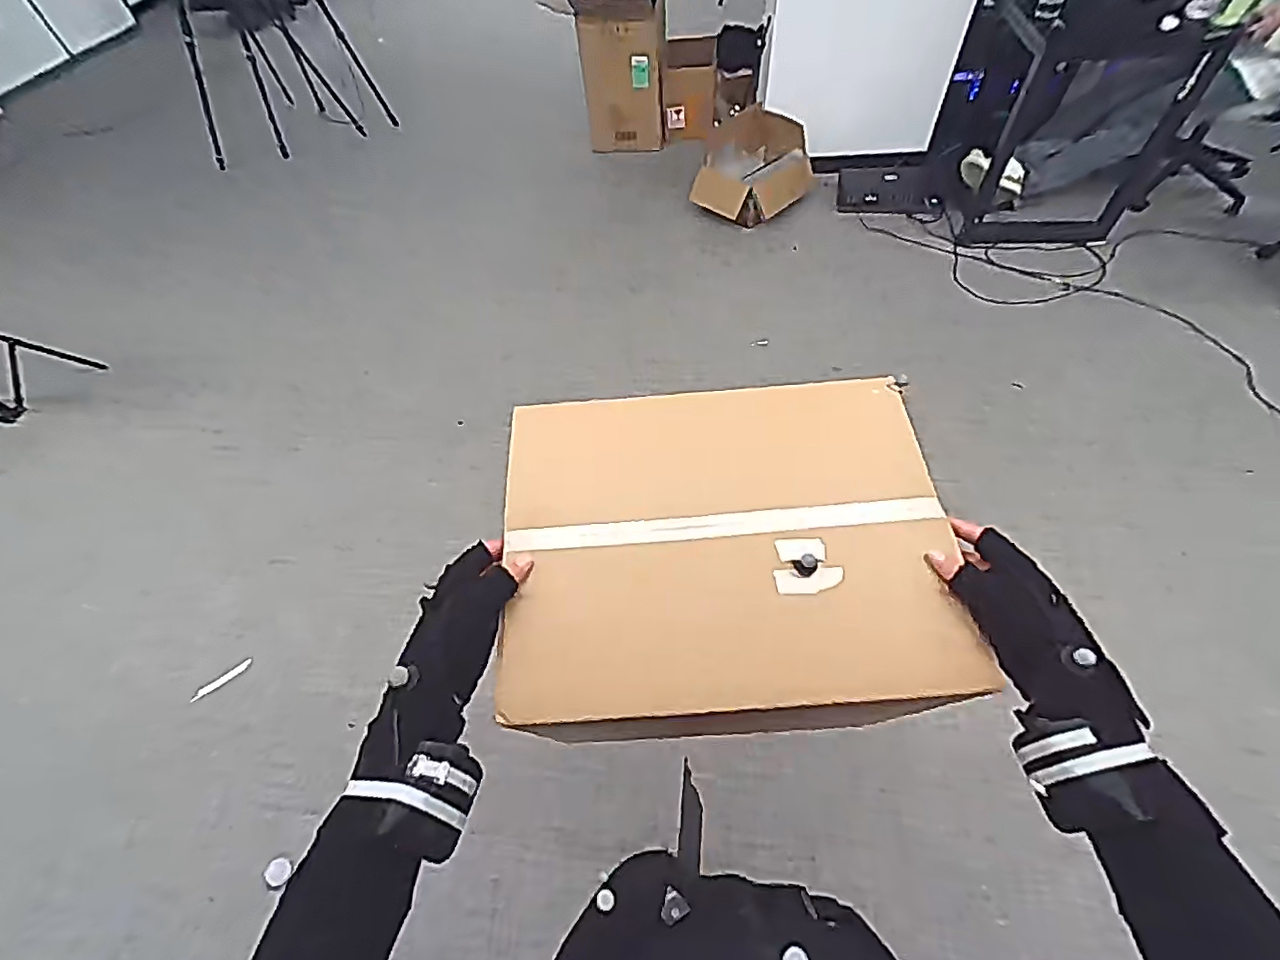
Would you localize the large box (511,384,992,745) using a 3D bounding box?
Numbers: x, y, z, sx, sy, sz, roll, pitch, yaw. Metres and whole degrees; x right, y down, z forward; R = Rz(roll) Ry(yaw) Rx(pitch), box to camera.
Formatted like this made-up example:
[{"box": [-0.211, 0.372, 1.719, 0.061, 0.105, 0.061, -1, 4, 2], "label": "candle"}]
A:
[{"box": [0.084, 0.118, 0.638, 0.408, 0.320, 0.320, -4, 62, 0], "label": "large box"}]
